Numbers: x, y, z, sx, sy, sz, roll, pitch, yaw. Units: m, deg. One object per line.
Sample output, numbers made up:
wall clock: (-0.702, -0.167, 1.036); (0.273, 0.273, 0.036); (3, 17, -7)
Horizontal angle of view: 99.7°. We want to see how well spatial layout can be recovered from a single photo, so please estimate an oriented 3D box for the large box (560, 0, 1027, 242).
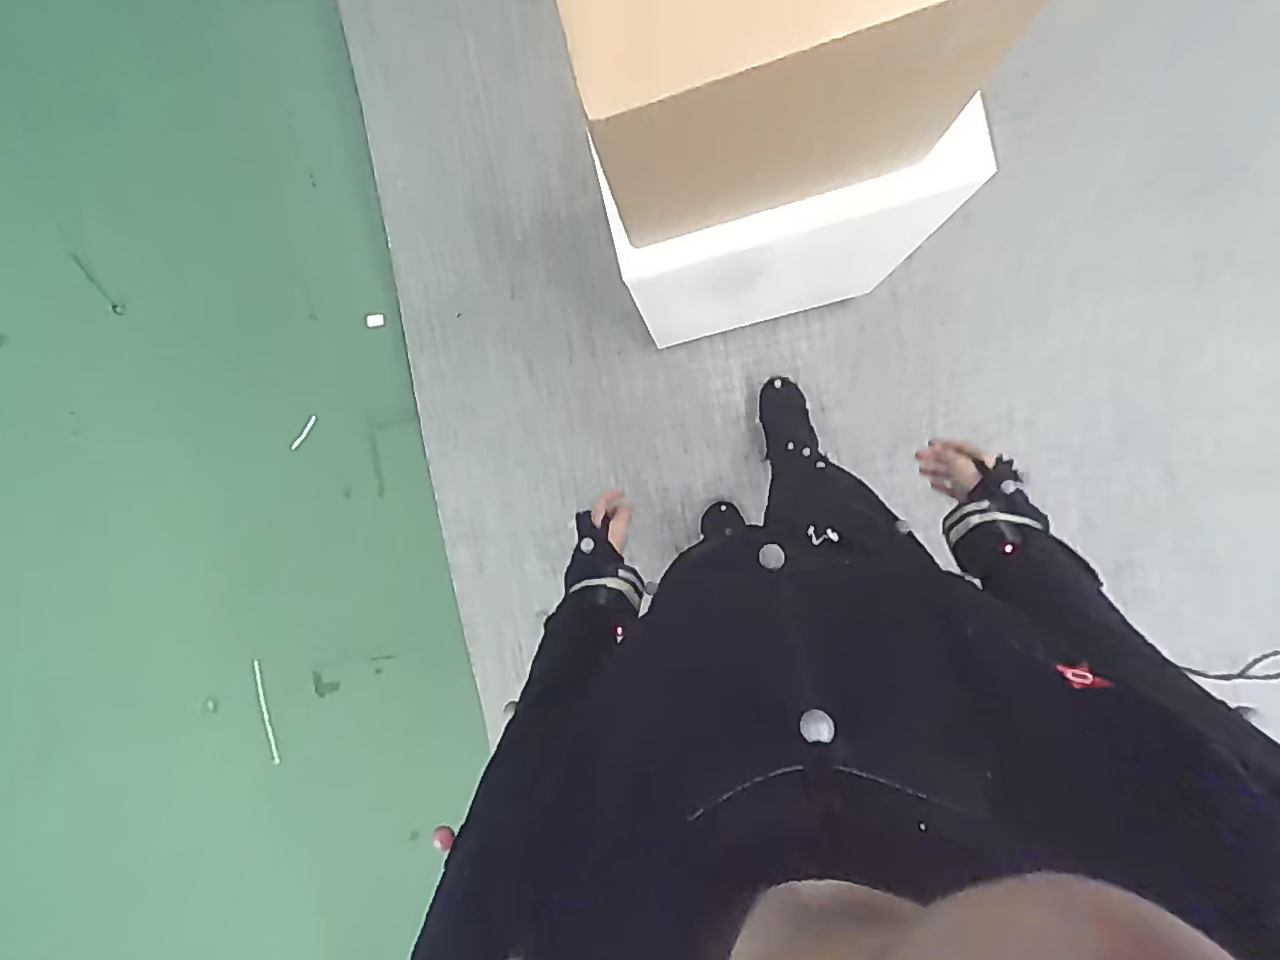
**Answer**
large box: (0.125, -0.520, 0.589); (0.408, 0.320, 0.320); (-14, 92, 6)
